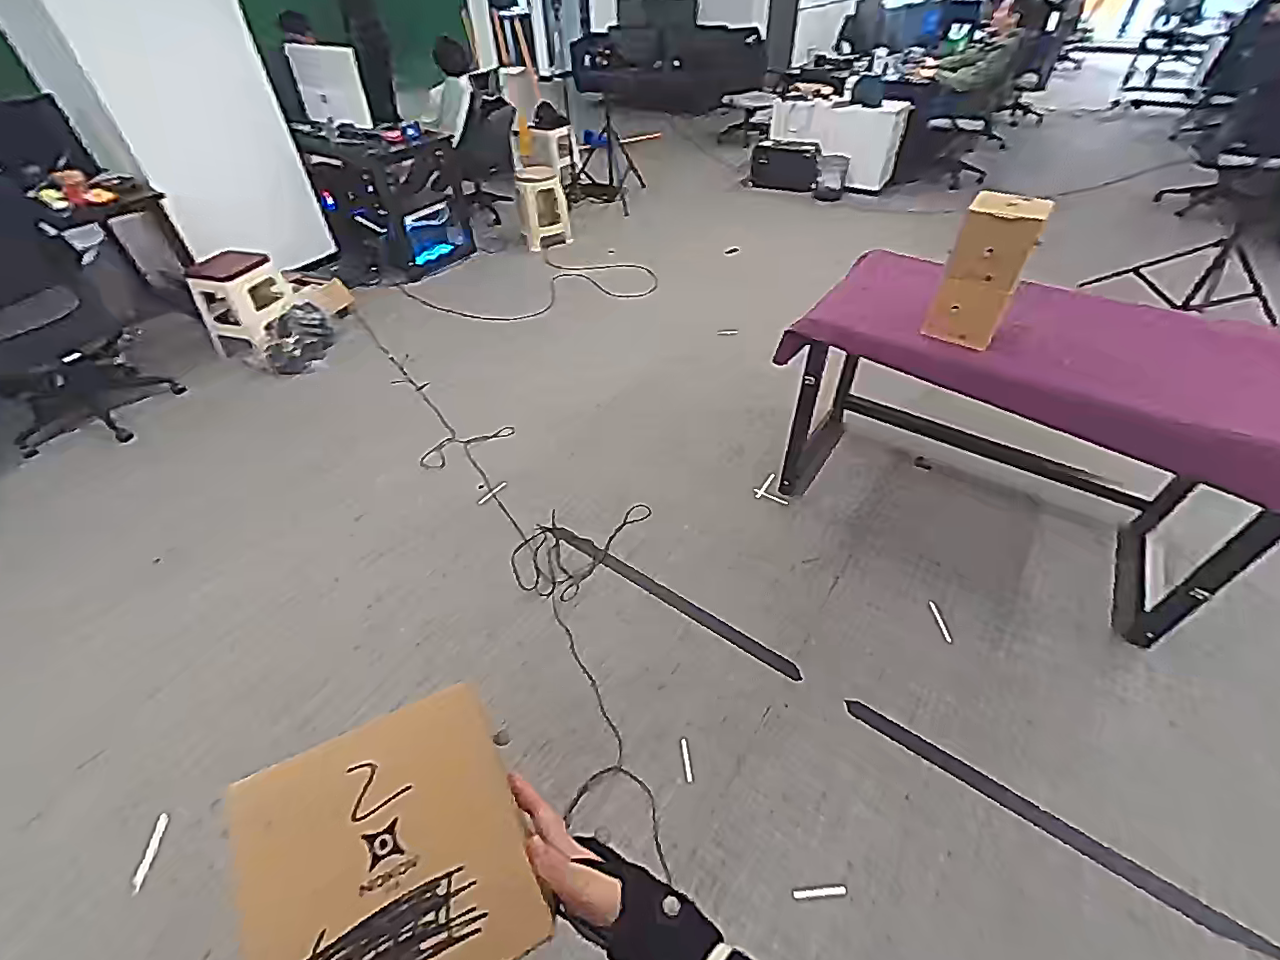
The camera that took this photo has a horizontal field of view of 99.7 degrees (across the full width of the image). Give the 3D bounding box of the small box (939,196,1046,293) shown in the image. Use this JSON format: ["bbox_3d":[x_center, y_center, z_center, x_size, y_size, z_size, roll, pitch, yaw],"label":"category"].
[{"bbox_3d":[0.885,-0.595,1.370,0.168,0.176,0.179,25,50,25],"label":"small box"}]

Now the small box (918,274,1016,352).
[{"bbox_3d":[0.888,-0.473,1.479,0.168,0.176,0.179,26,50,26],"label":"small box"}]
